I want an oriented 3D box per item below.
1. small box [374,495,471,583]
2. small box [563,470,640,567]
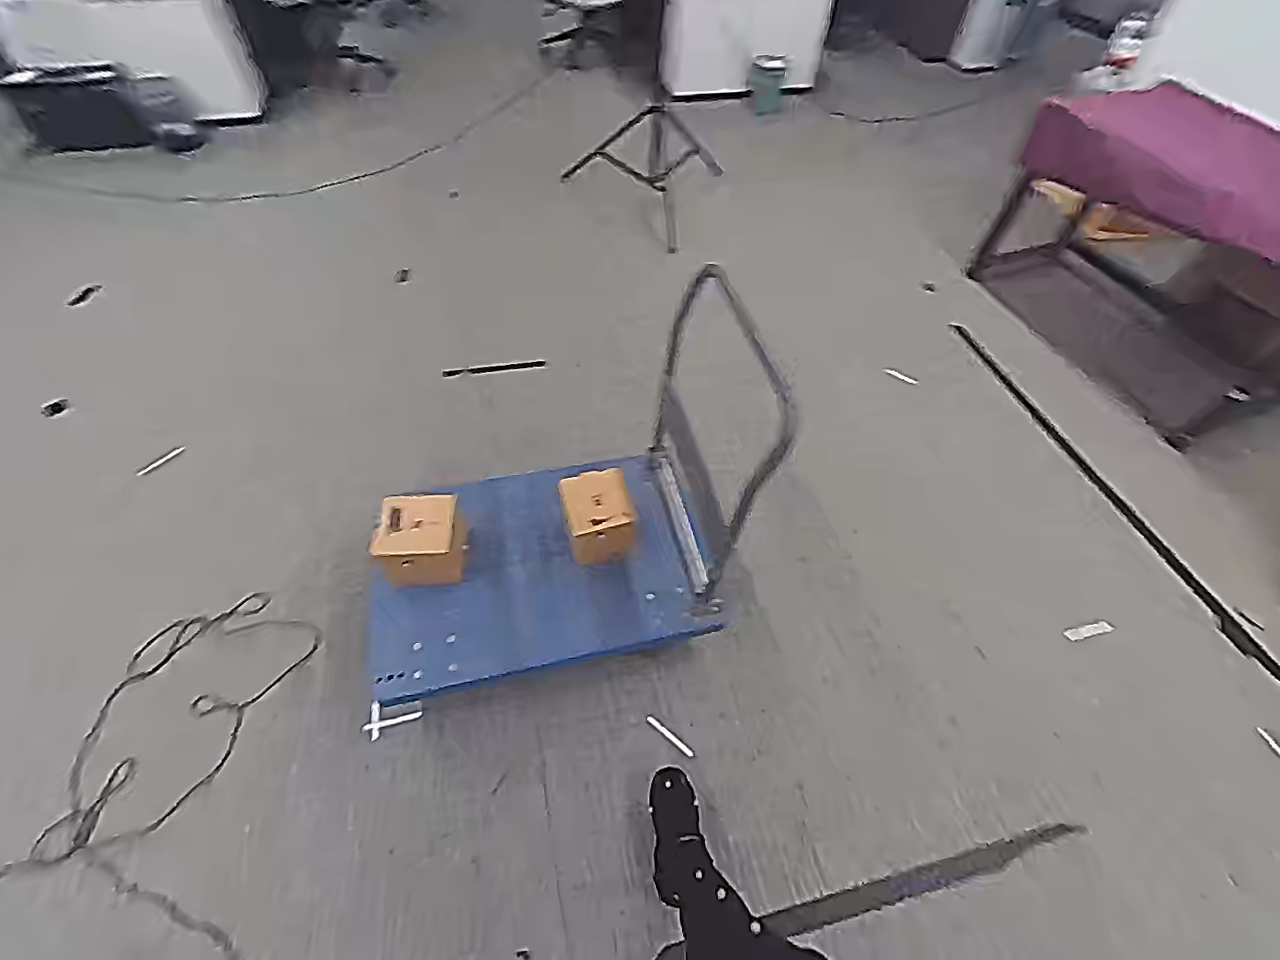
[{"bbox_3d":[-0.542,0.154,1.372,0.179,0.176,0.168,-1,54,-5],"label":"small box"},{"bbox_3d":[-0.104,0.103,1.438,0.168,0.176,0.179,-13,55,-12],"label":"small box"}]
